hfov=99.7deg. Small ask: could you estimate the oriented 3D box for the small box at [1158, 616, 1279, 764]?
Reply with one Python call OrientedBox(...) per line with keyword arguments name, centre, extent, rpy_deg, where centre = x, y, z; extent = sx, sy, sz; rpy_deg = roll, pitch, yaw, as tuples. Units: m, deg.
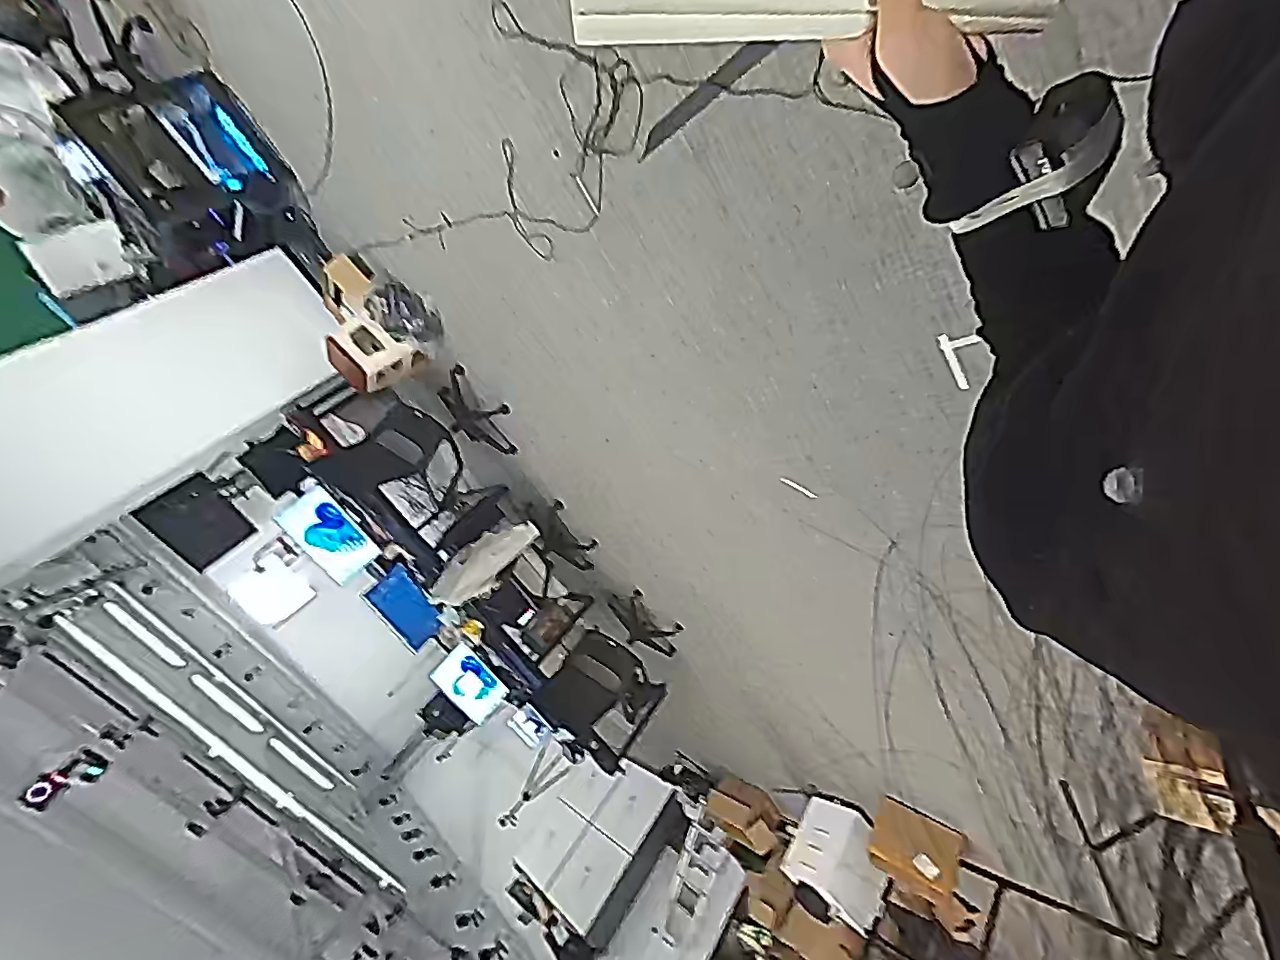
OrientedBox(name="small box", centre=(1.073, 0.374, 0.985), extent=(0.168, 0.176, 0.179), rpy_deg=(-3, 125, 51))
